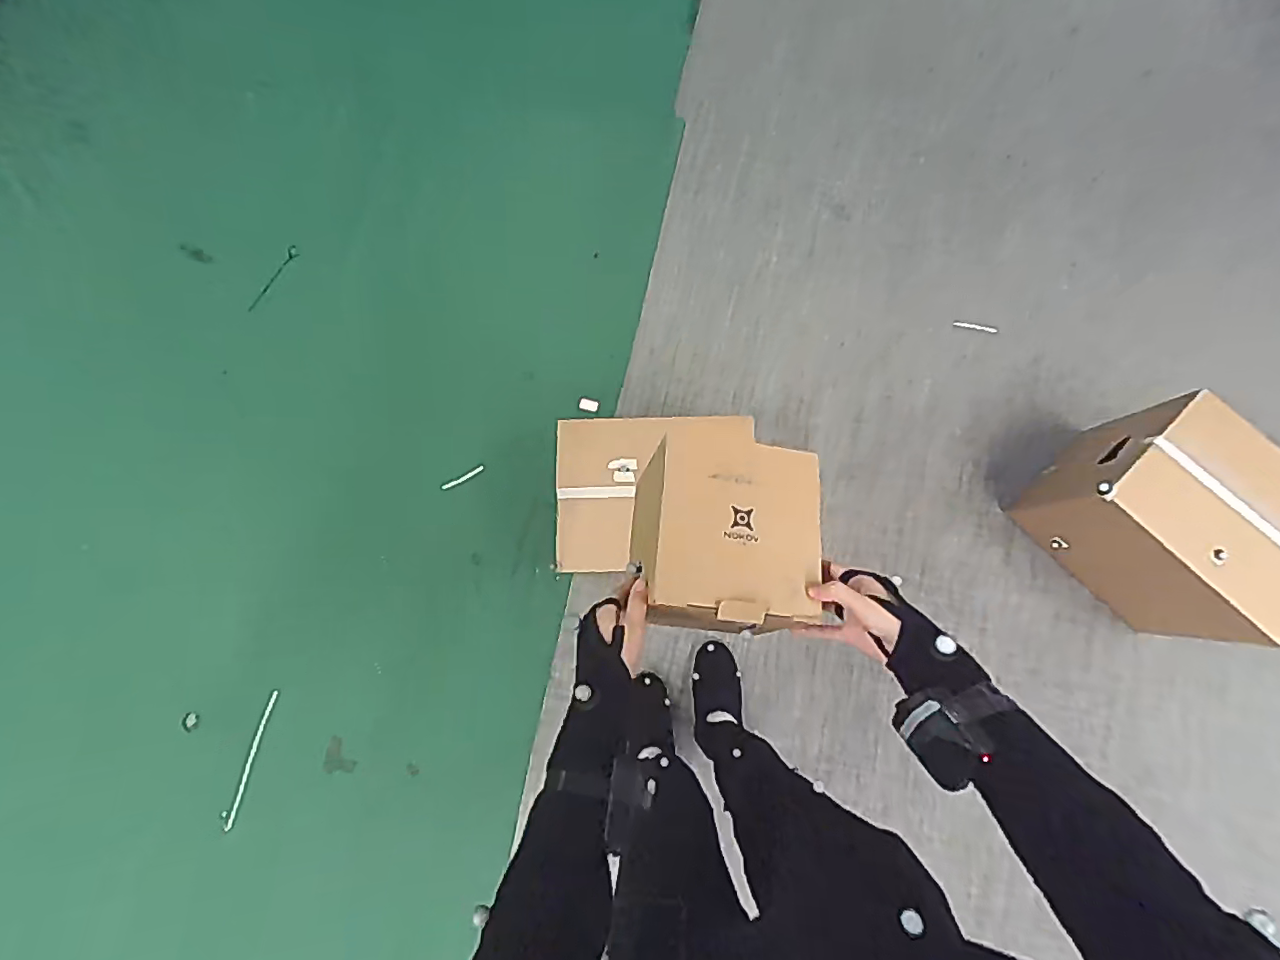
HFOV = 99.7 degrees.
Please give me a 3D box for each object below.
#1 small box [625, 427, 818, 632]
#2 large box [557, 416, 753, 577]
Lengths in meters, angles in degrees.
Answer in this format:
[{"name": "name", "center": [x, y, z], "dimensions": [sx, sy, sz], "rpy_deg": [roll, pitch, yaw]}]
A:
[{"name": "small box", "center": [0.081, 0.066, 0.599], "dimensions": [0.168, 0.176, 0.179], "rpy_deg": [10, 68, -9]}, {"name": "large box", "center": [0.043, 0.056, 1.218], "dimensions": [0.408, 0.320, 0.320], "rpy_deg": [-2, 78, 3]}]
